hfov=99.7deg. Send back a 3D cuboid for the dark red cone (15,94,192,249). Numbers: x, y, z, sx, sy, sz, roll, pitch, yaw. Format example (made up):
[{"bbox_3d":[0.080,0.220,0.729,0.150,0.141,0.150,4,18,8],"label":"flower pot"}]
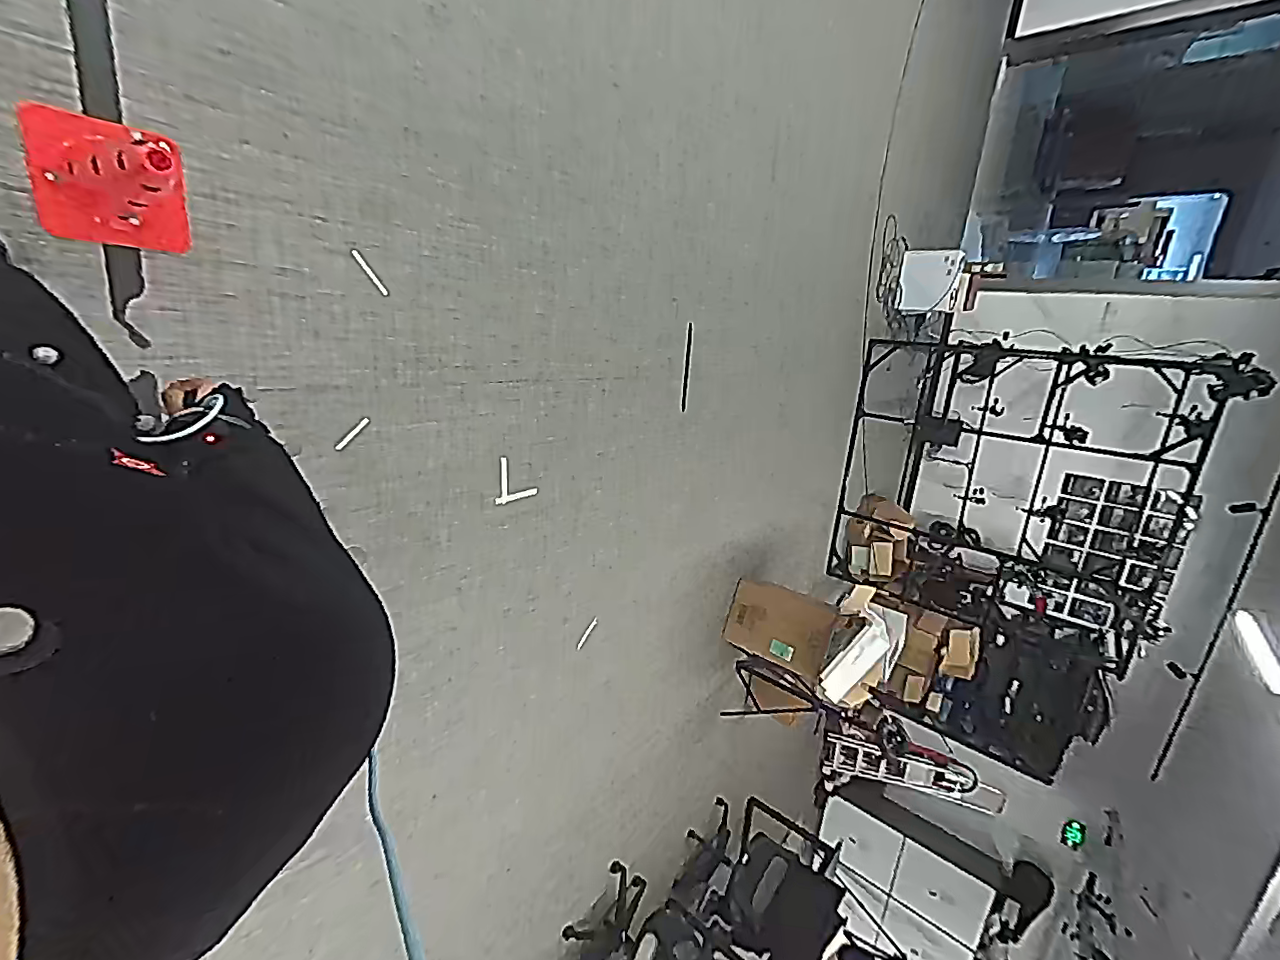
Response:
[{"bbox_3d":[-0.779,-0.472,0.825,0.201,0.394,0.202,-13,114,-48],"label":"dark red cone"}]
